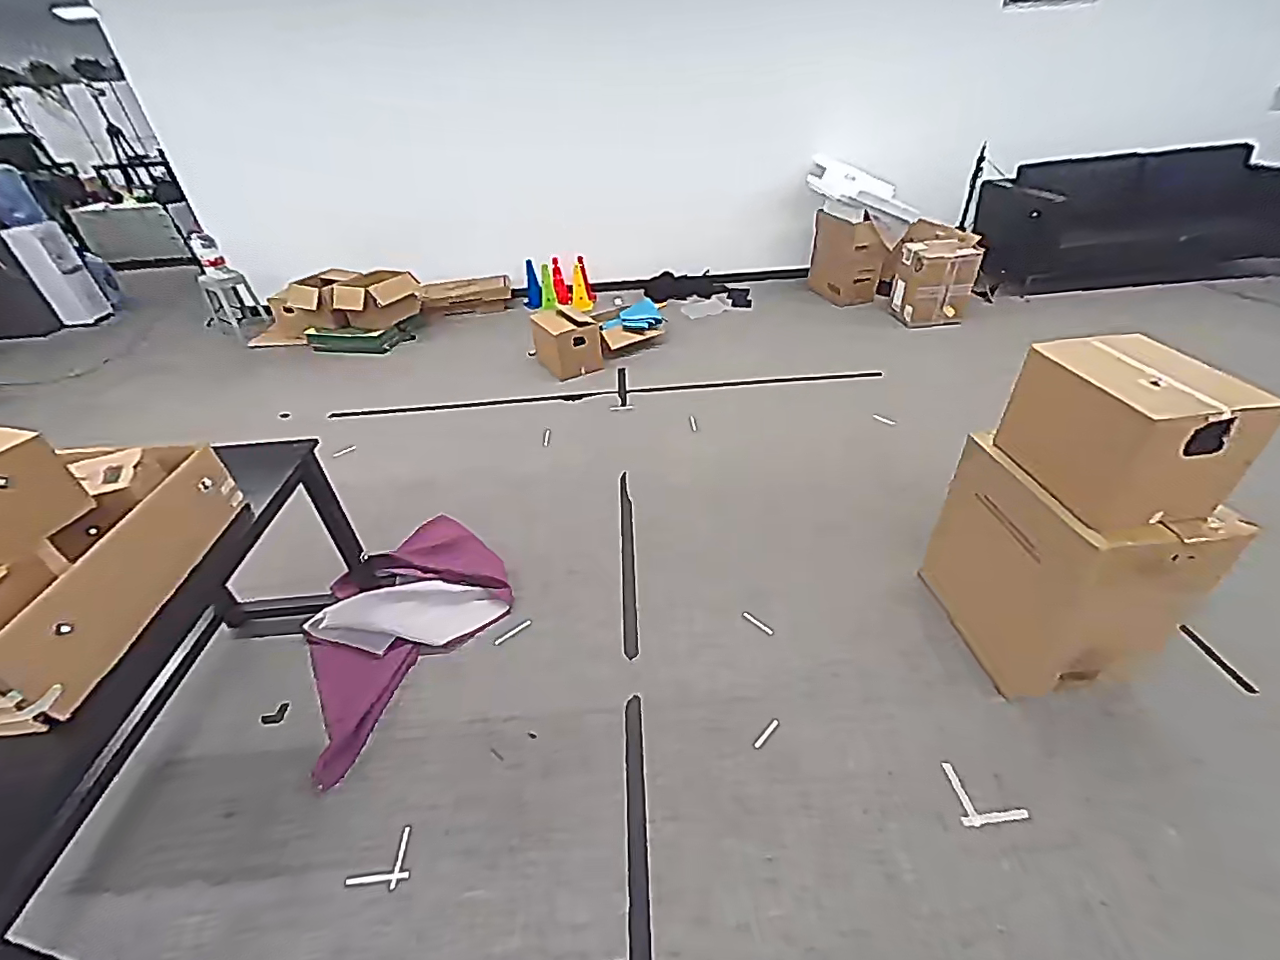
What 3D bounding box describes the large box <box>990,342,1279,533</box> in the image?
[{"bbox_3d":[1.209,-0.122,1.384,0.320,0.320,0.408,-6,37,-3],"label":"large box"}]
